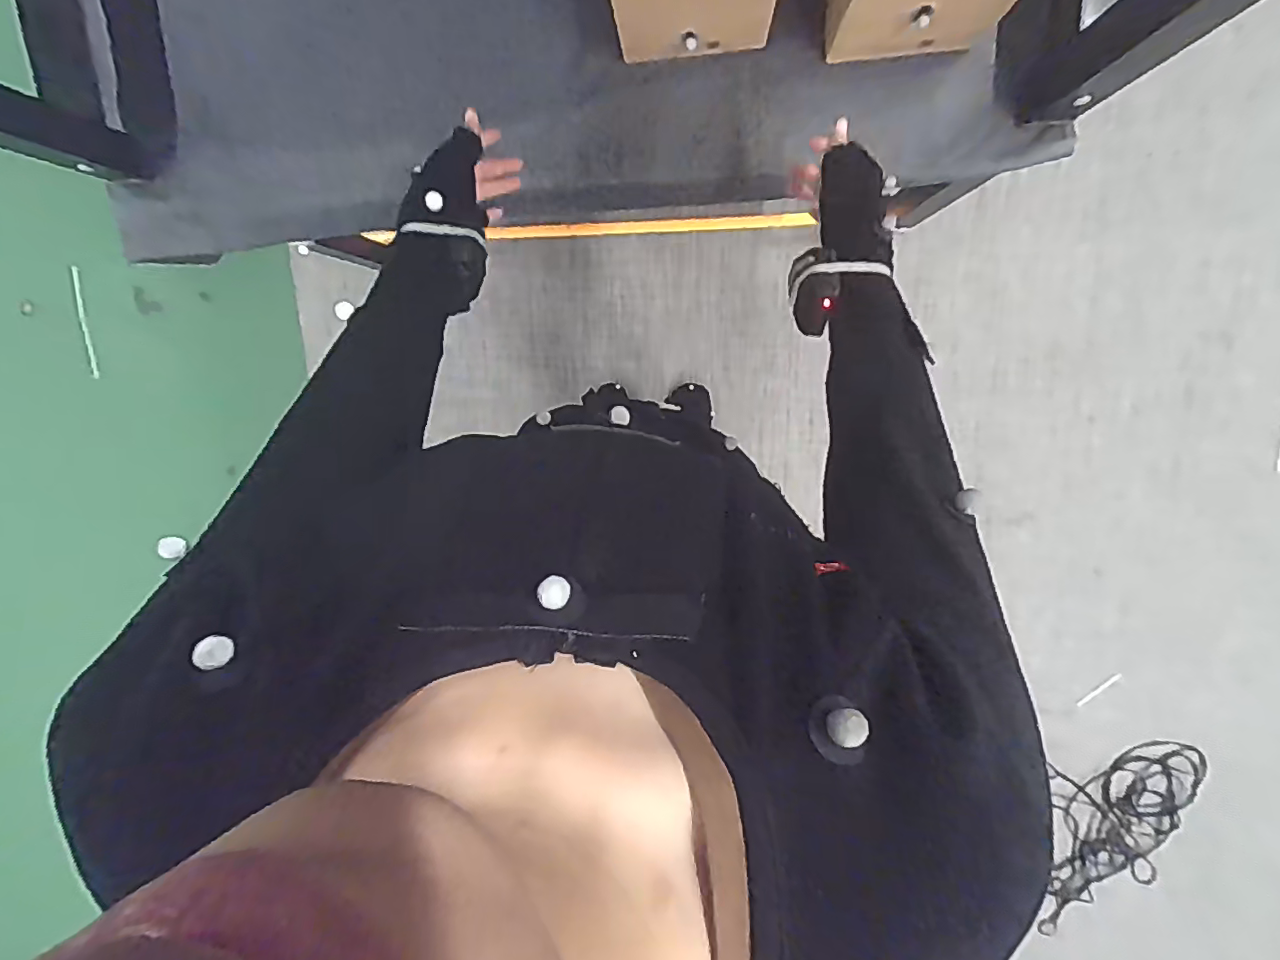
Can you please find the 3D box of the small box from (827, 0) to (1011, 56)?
[{"bbox_3d":[0.284,-0.546,0.519,0.168,0.176,0.179,-1,101,5],"label":"small box"}]
